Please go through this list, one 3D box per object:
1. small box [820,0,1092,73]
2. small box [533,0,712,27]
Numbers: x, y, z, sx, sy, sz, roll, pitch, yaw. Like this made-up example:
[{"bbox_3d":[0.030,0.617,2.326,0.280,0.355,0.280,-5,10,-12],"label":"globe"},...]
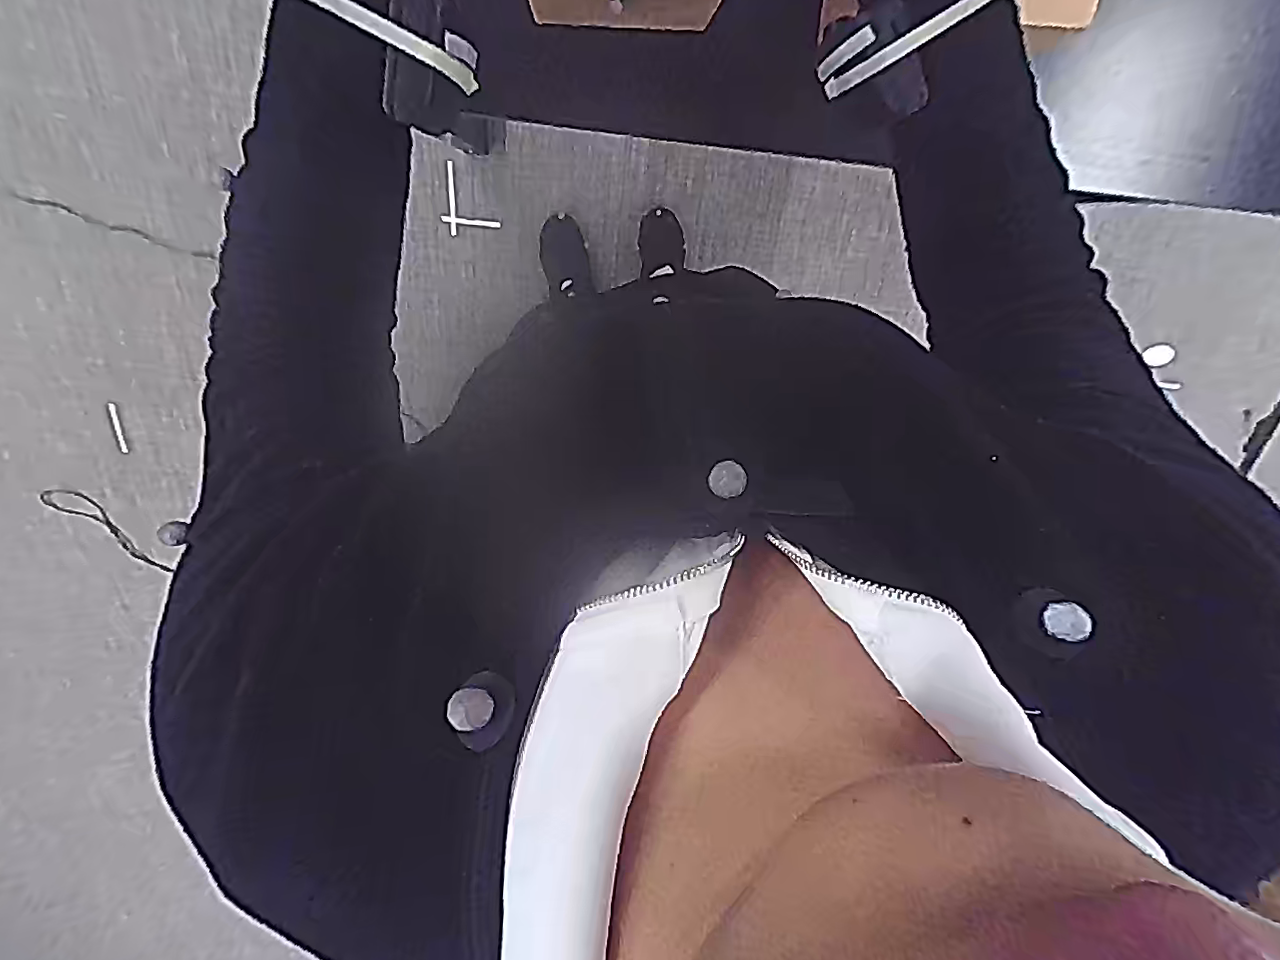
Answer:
[{"bbox_3d":[0.281,-0.486,0.482,0.179,0.176,0.168,0,115,-4],"label":"small box"},{"bbox_3d":[-0.011,-0.506,0.448,0.179,0.176,0.168,-1,115,-3],"label":"small box"}]
